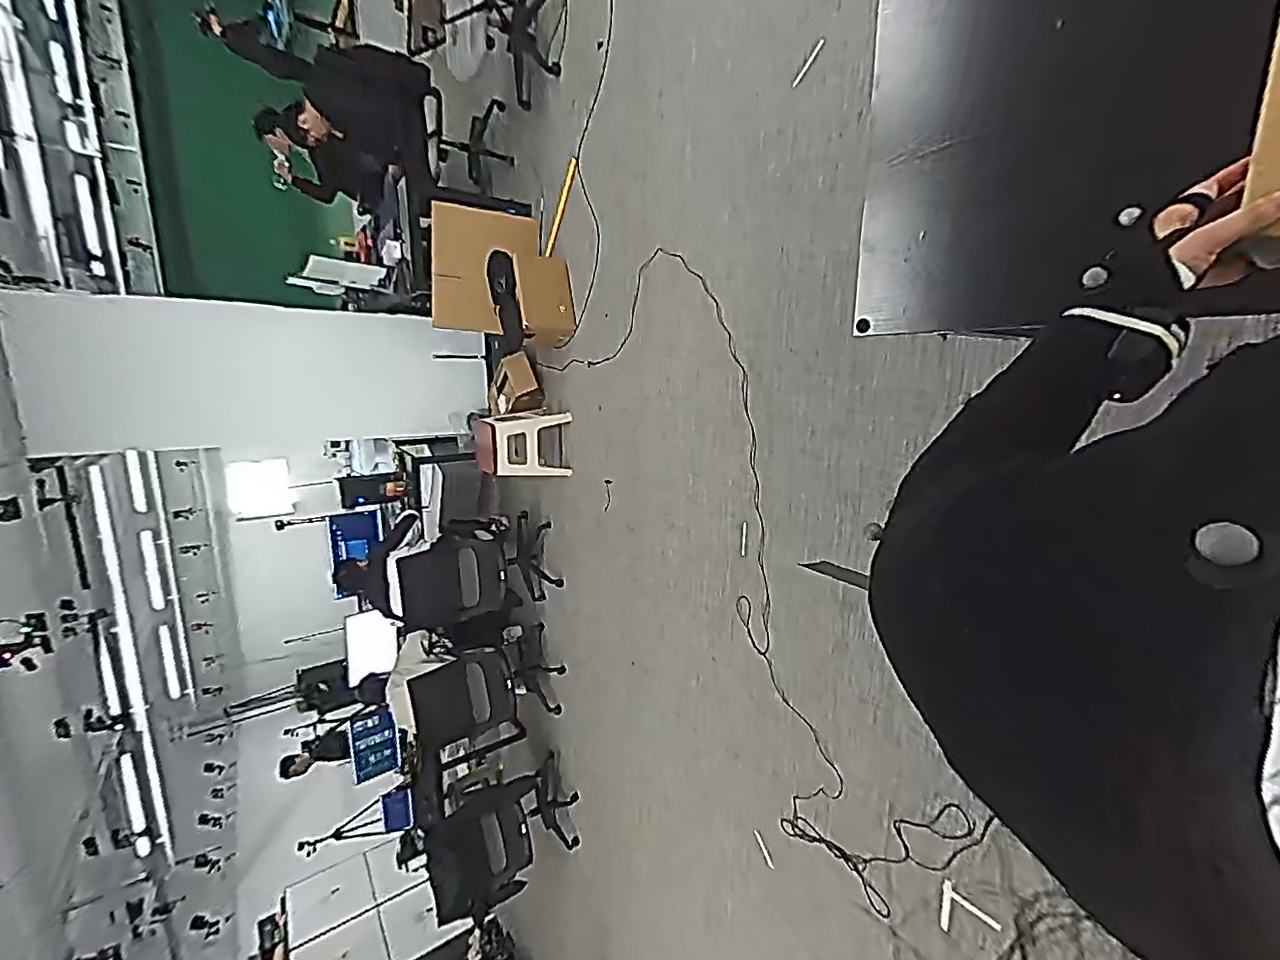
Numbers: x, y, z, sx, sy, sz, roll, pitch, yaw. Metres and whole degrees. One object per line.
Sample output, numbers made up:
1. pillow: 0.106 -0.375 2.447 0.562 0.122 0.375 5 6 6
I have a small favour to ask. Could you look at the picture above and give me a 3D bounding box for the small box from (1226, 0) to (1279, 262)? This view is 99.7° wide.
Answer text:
1. small box: 0.576 -0.264 0.393 0.168 0.176 0.179 15 107 52
